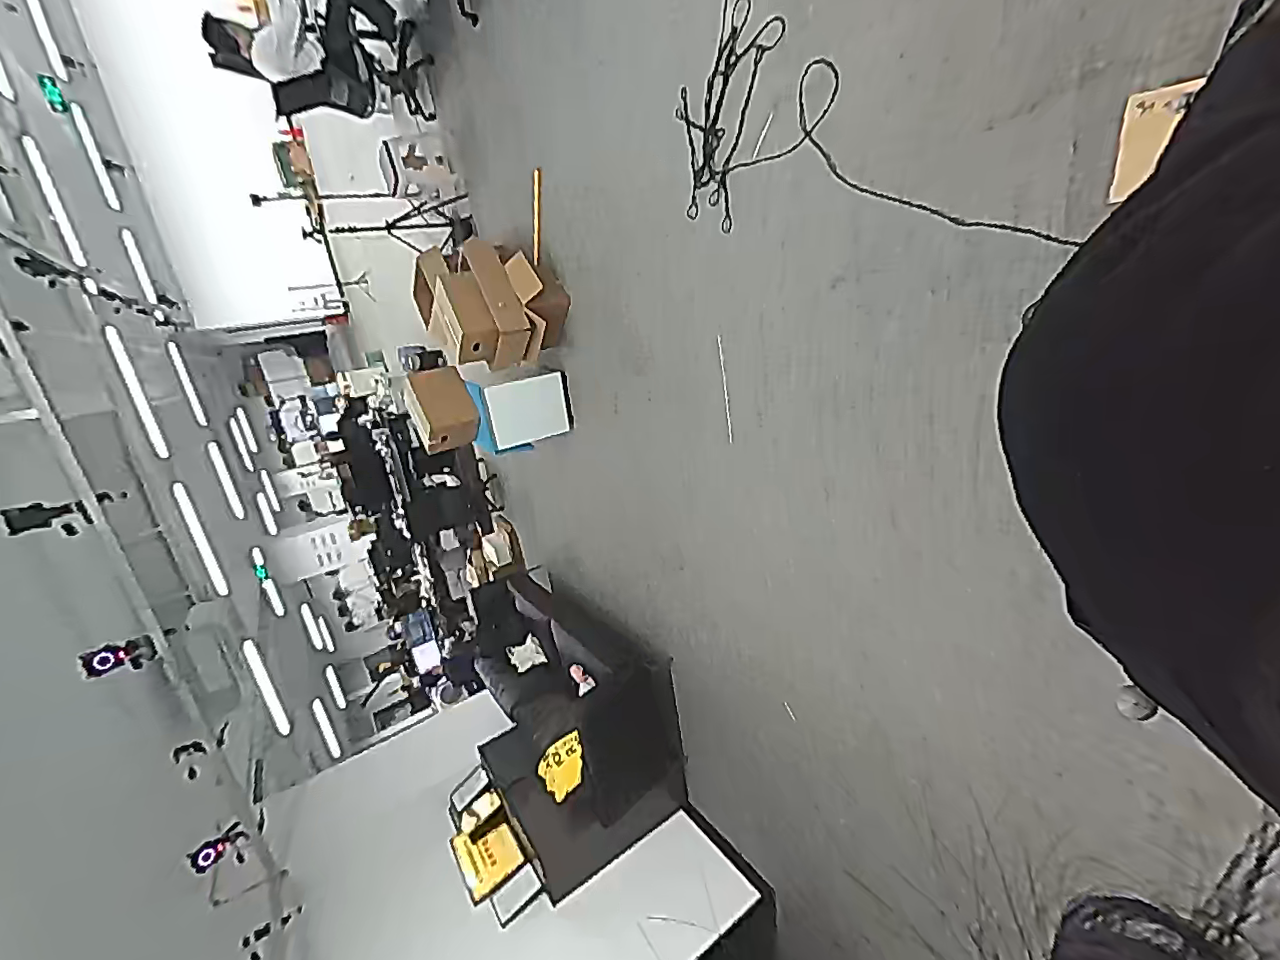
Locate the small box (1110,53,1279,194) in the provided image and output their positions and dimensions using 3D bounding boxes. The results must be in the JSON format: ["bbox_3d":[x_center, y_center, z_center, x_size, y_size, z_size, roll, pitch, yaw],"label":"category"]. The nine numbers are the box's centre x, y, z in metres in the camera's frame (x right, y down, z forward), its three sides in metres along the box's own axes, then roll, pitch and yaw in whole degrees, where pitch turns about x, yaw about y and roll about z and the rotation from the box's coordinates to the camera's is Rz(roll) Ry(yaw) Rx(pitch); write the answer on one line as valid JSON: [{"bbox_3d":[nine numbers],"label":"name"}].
[{"bbox_3d":[0.986,-0.625,0.961,0.168,0.176,0.179,23,128,52],"label":"small box"}]
